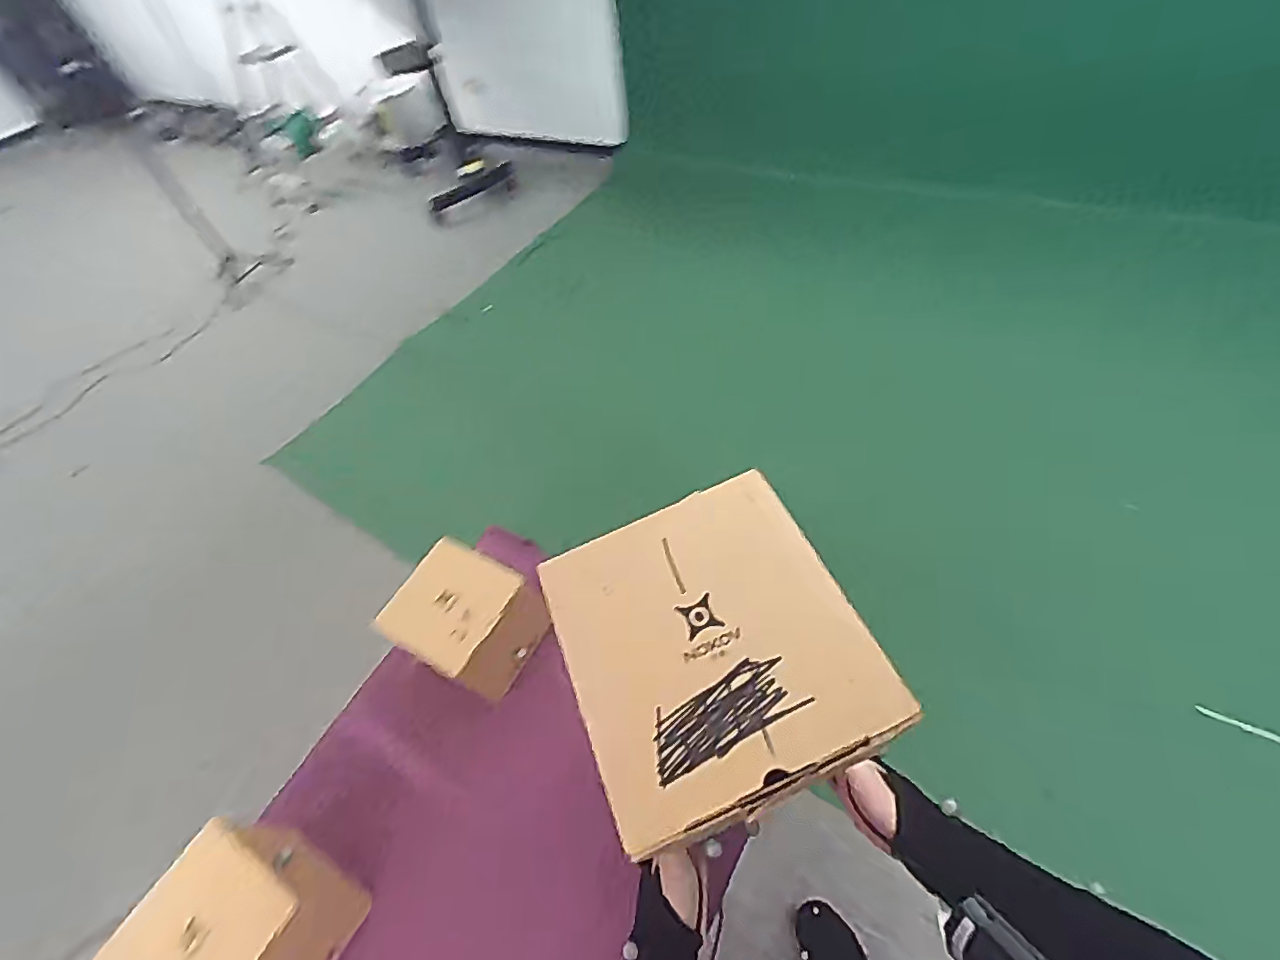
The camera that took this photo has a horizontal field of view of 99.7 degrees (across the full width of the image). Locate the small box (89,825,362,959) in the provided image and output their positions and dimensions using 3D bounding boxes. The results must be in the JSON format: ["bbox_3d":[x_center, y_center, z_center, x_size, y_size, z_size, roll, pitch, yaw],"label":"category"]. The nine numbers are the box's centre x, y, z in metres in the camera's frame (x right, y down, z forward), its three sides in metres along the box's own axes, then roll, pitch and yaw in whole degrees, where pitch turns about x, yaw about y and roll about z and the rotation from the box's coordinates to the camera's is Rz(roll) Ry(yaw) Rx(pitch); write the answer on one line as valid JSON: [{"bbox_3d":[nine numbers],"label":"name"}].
[{"bbox_3d":[-0.485,0.555,0.649,0.179,0.176,0.168,21,58,22],"label":"small box"}]

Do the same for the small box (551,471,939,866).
[{"bbox_3d":[0.059,0.131,0.372,0.168,0.176,0.179,-22,54,-4],"label":"small box"}]

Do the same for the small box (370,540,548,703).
[{"bbox_3d":[-0.276,0.230,0.863,0.179,0.176,0.168,21,61,22],"label":"small box"}]
